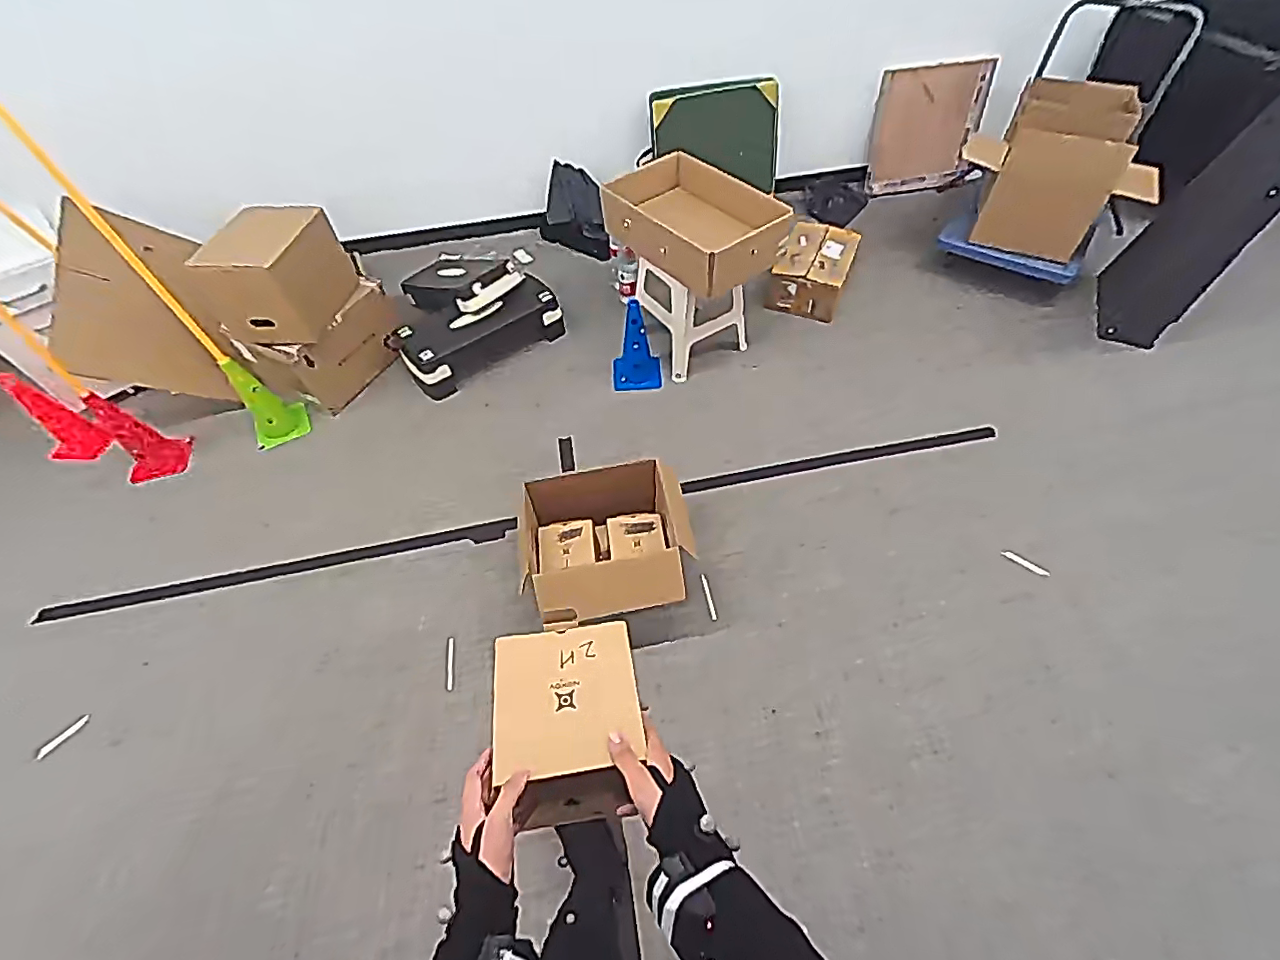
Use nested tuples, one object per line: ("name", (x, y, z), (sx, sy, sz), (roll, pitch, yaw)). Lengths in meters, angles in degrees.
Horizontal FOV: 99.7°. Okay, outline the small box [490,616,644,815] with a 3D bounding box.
("small box", (-0.087, 0.299, 0.679), (0.168, 0.176, 0.179), (-5, 44, -8))
